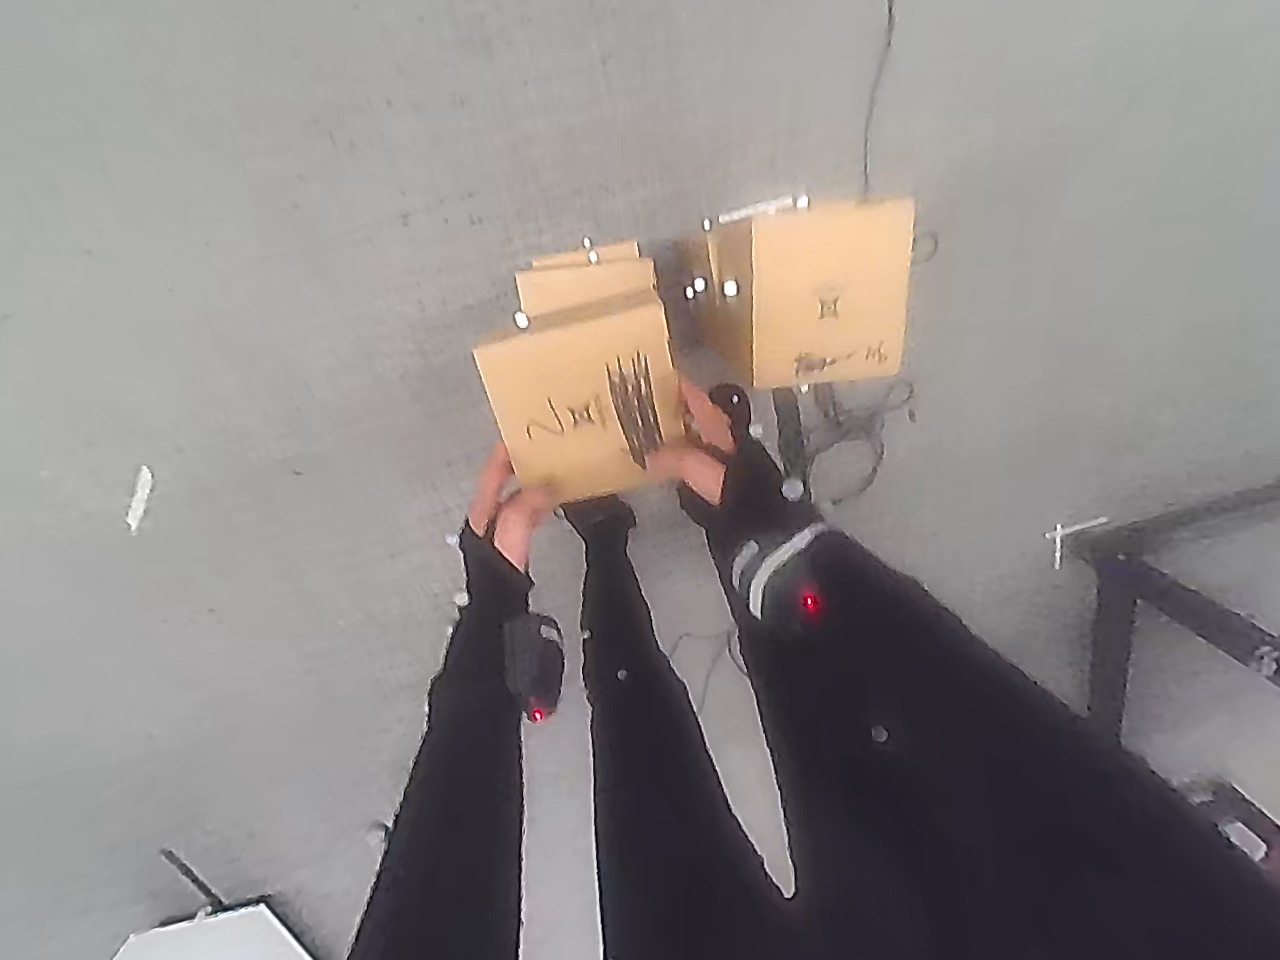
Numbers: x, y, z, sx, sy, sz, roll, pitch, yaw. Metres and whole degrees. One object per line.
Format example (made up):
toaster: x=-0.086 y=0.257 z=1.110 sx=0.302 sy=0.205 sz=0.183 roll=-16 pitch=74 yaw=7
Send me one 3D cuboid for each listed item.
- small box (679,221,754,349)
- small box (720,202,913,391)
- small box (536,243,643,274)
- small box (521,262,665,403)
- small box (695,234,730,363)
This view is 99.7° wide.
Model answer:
small box: x=0.170 y=-0.342 z=0.933 sx=0.168 sy=0.176 sz=0.179 roll=-14 pitch=113 yaw=3
small box: x=0.192 y=-0.214 z=0.635 sx=0.168 sy=0.176 sz=0.179 roll=-7 pitch=112 yaw=-1
small box: x=-0.073 y=-0.299 z=0.929 sx=0.168 sy=0.176 sz=0.179 roll=-10 pitch=113 yaw=1
small box: x=-0.064 y=-0.221 z=0.785 sx=0.179 sy=0.176 sz=0.168 roll=-7 pitch=113 yaw=-1
small box: x=0.182 y=-0.279 z=0.785 sx=0.179 sy=0.176 sz=0.168 roll=-13 pitch=113 yaw=1
